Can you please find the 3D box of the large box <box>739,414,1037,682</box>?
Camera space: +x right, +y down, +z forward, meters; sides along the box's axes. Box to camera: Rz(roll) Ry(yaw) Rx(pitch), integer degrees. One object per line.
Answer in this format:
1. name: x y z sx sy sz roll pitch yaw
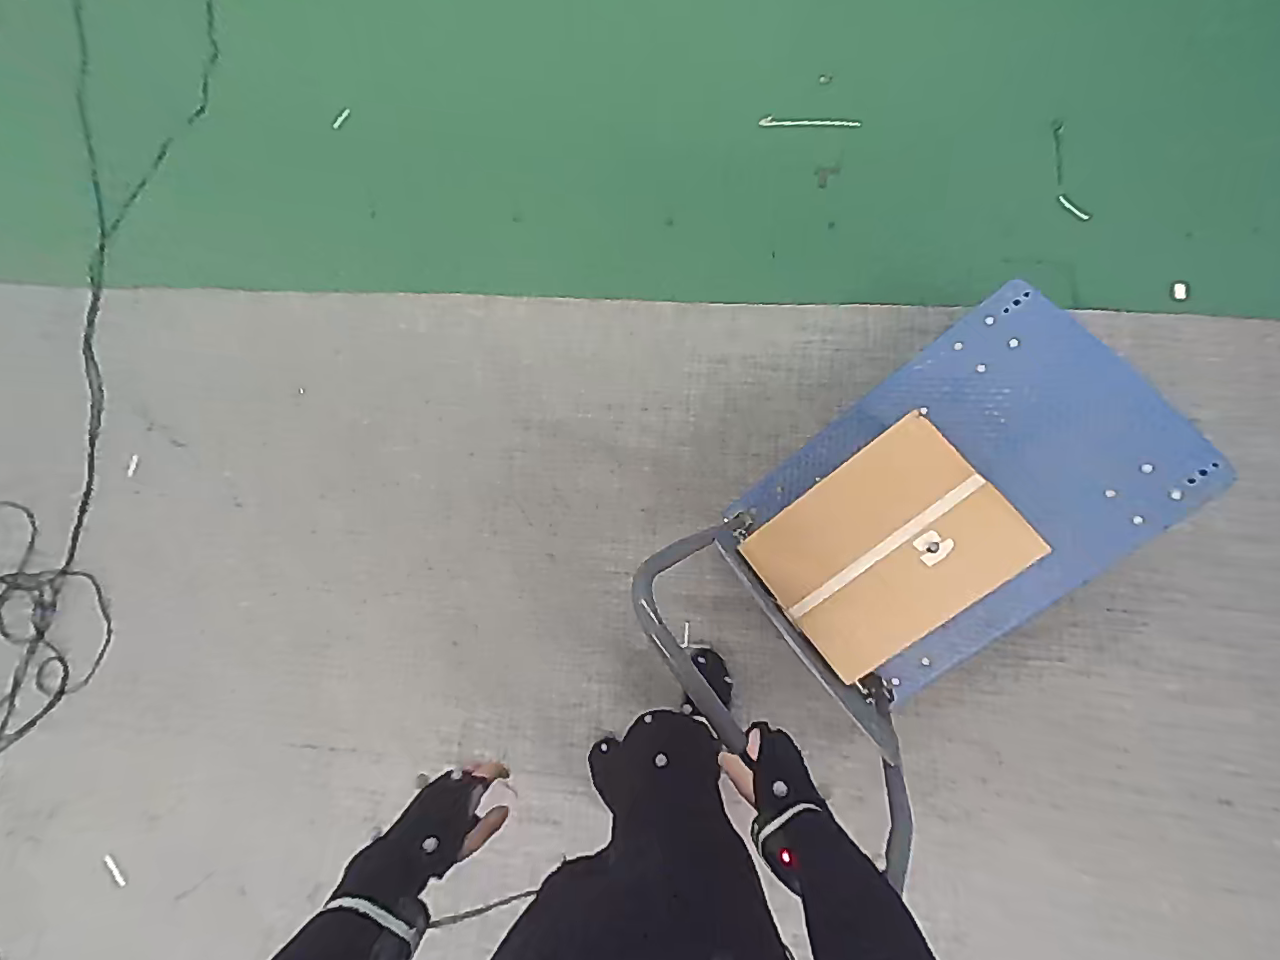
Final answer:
1. large box: 0.468 0.135 1.107 0.408 0.320 0.320 -40 76 11
